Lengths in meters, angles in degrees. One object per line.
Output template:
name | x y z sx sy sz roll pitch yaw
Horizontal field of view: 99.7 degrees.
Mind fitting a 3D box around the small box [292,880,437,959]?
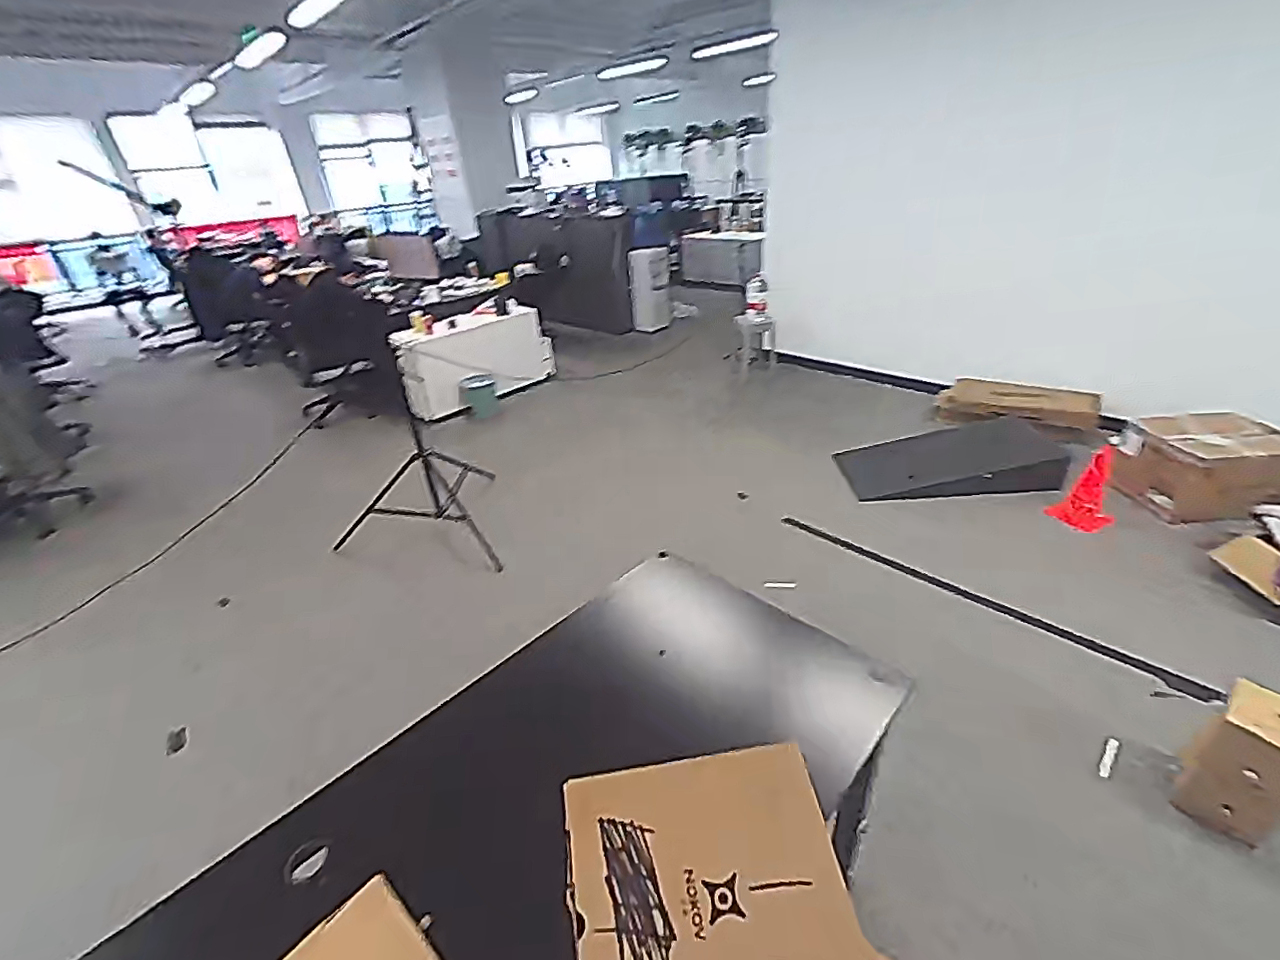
small box | -0.272 0.570 0.542 0.179 0.176 0.168 20 39 34

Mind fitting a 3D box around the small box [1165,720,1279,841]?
small box | 1.489 0.768 1.383 0.168 0.176 0.179 23 41 39

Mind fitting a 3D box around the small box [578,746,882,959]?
small box | 0.055 0.321 0.397 0.179 0.176 0.168 -7 46 -5

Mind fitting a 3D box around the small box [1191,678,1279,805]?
small box | 1.480 0.625 1.299 0.179 0.176 0.168 -27 36 -32
